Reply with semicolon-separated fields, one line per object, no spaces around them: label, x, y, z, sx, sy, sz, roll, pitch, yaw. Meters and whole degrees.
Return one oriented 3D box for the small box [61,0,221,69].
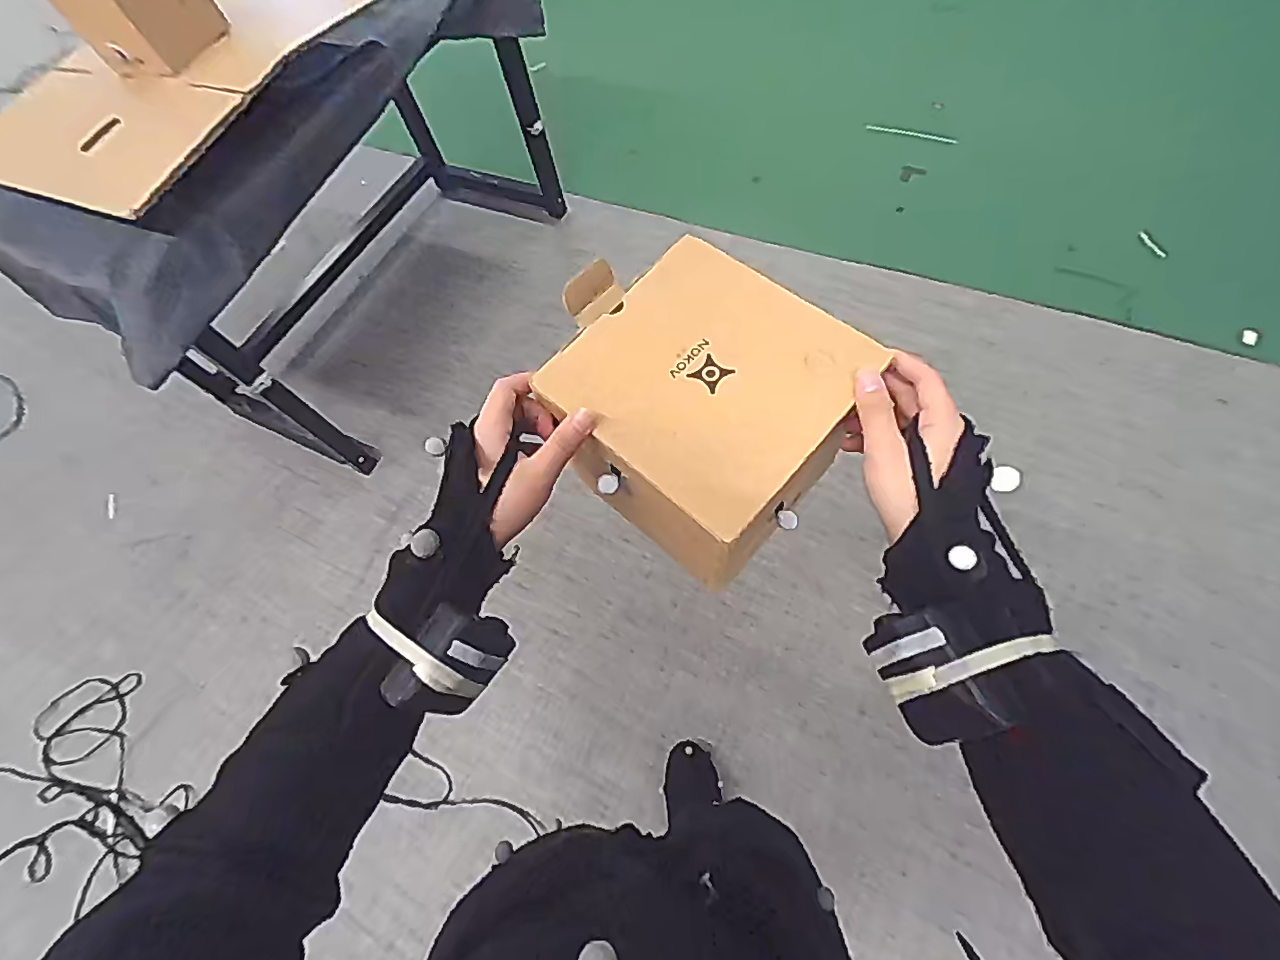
small box;-0.916;-0.883;0.976;0.168;0.176;0.179;12;67;17
